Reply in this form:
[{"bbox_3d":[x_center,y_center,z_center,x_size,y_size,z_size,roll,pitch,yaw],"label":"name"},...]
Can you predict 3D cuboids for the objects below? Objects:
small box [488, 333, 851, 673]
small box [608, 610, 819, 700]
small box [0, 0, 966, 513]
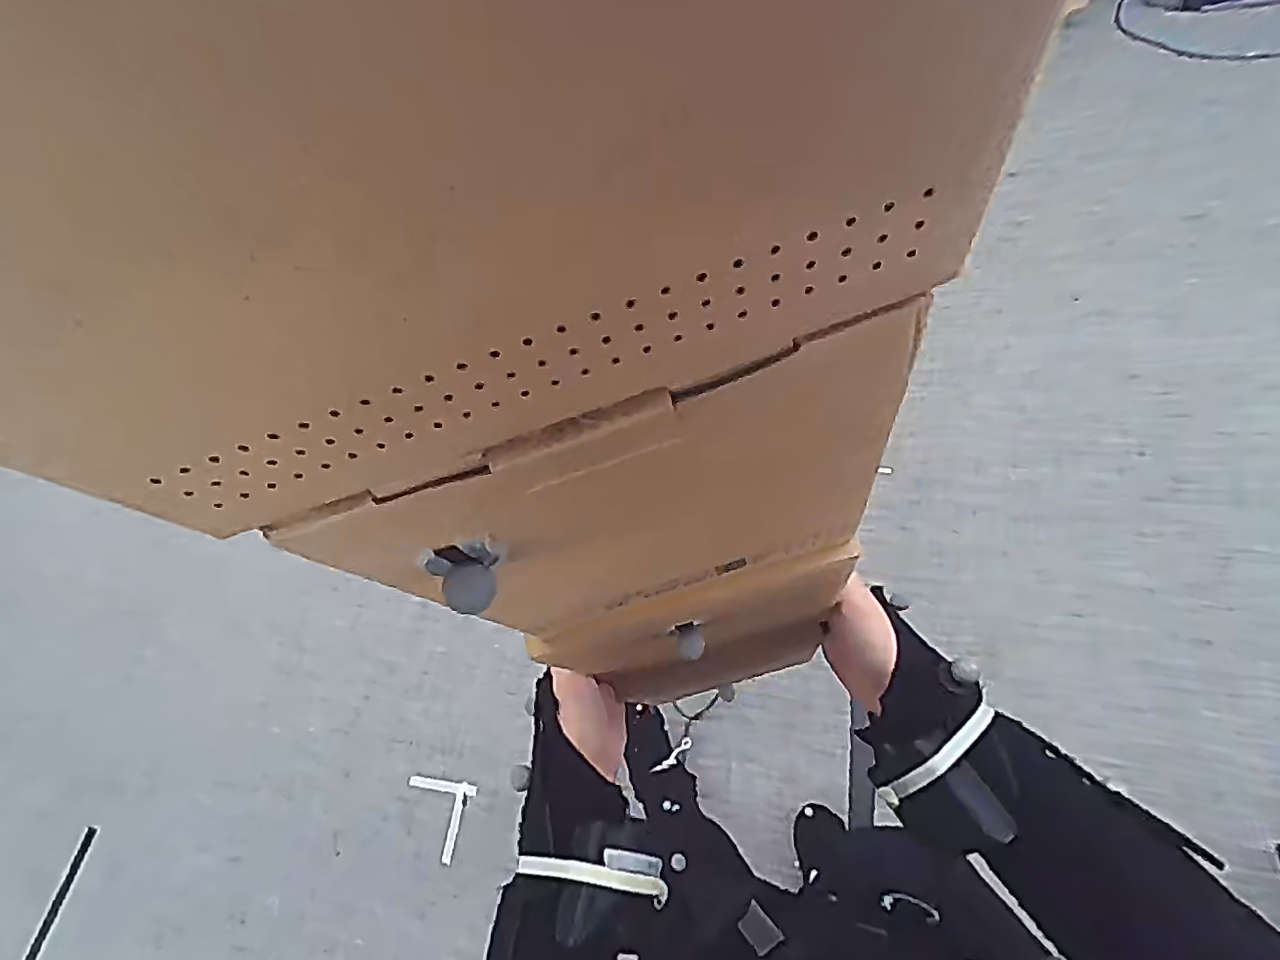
[{"bbox_3d":[0.020,0.025,0.374,0.179,0.176,0.168,-19,63,6],"label":"small box"},{"bbox_3d":[0.054,0.098,0.515,0.168,0.176,0.179,-19,64,6],"label":"small box"},{"bbox_3d":[-0.058,-0.115,0.086,0.179,0.176,0.168,-19,62,7],"label":"small box"}]
